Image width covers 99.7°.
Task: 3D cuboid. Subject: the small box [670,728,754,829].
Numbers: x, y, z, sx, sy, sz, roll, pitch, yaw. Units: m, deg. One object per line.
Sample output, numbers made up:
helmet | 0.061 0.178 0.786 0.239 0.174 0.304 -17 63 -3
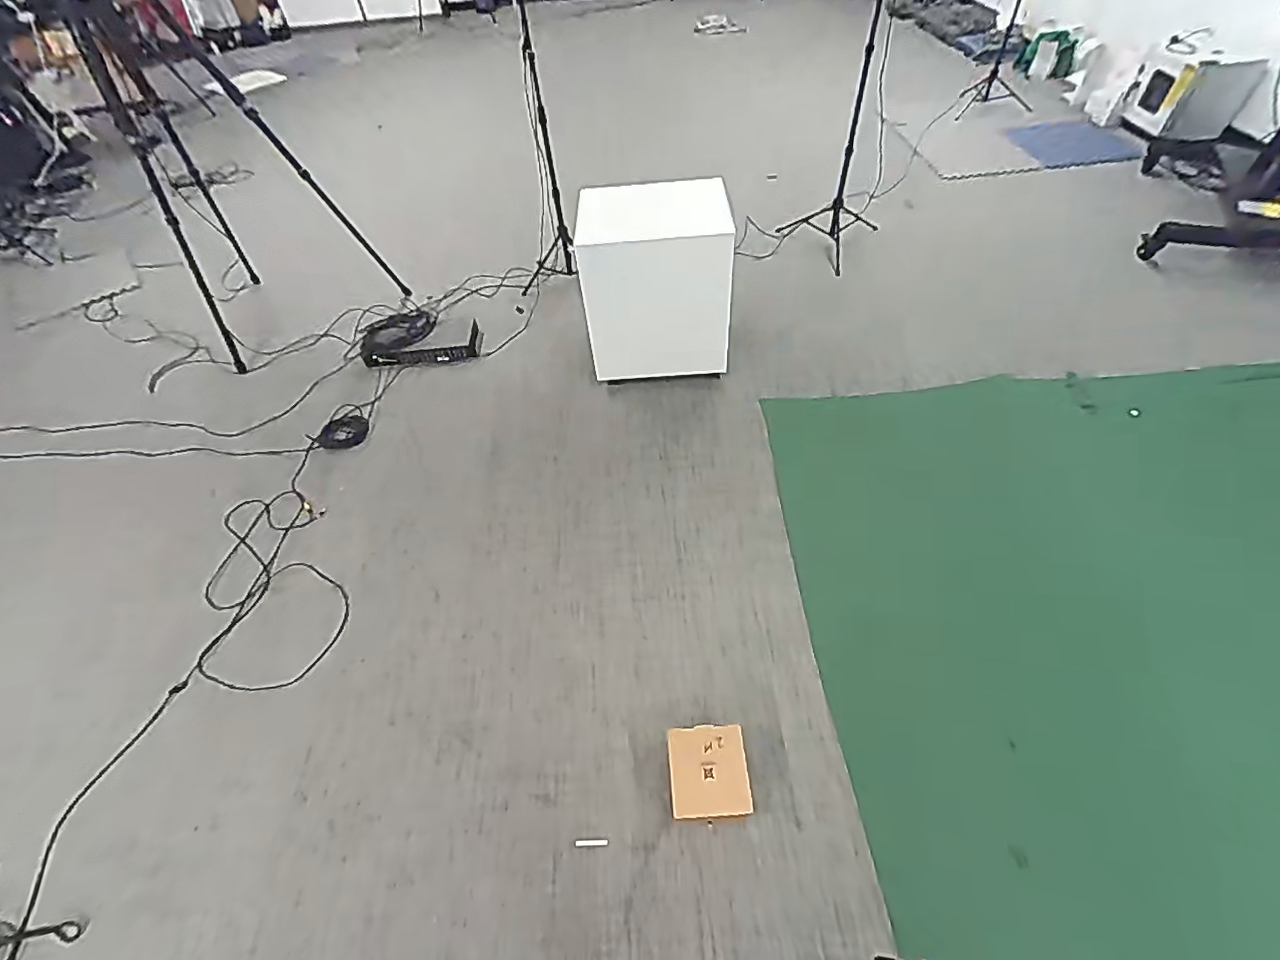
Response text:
small box | 0.156 0.671 1.208 0.168 0.176 0.179 -4 51 1
